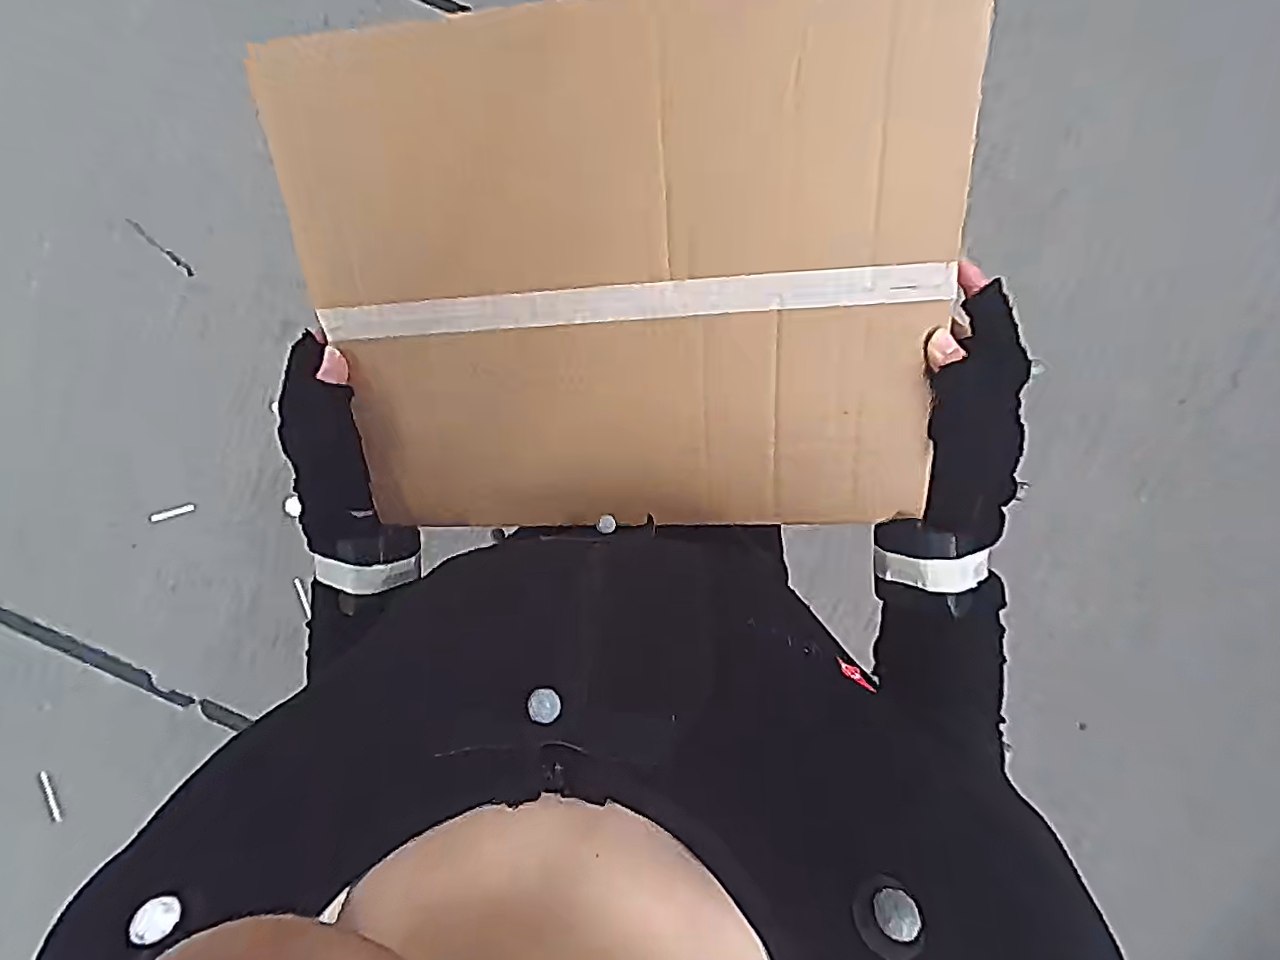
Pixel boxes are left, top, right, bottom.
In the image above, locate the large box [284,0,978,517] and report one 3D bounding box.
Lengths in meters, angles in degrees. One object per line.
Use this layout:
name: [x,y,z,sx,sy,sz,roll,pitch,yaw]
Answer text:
large box: [0.005,-0.175,0.493,0.408,0.320,0.320,-1,114,8]
